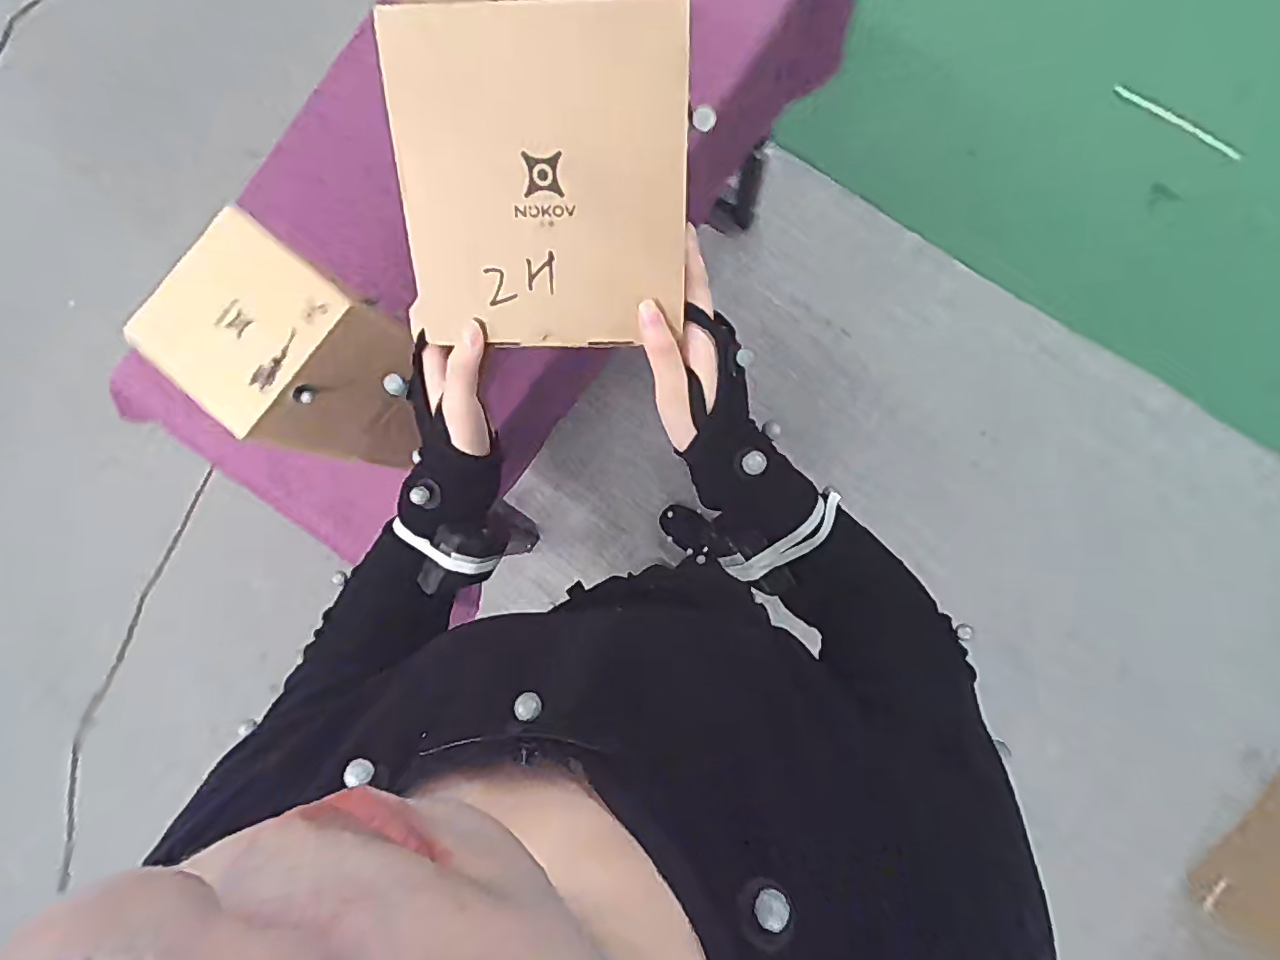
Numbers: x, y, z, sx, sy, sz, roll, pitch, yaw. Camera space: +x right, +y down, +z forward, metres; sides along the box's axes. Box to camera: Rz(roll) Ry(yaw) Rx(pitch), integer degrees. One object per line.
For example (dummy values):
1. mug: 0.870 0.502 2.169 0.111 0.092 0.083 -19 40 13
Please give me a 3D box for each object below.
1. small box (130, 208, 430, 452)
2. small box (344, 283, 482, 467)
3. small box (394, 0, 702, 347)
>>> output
1. small box: -0.378 -0.147 0.598 0.179 0.176 0.168 39 91 9
2. small box: -0.361 -0.133 0.762 0.179 0.176 0.168 39 90 7
3. small box: -0.046 -0.197 0.386 0.168 0.176 0.179 2 113 4
